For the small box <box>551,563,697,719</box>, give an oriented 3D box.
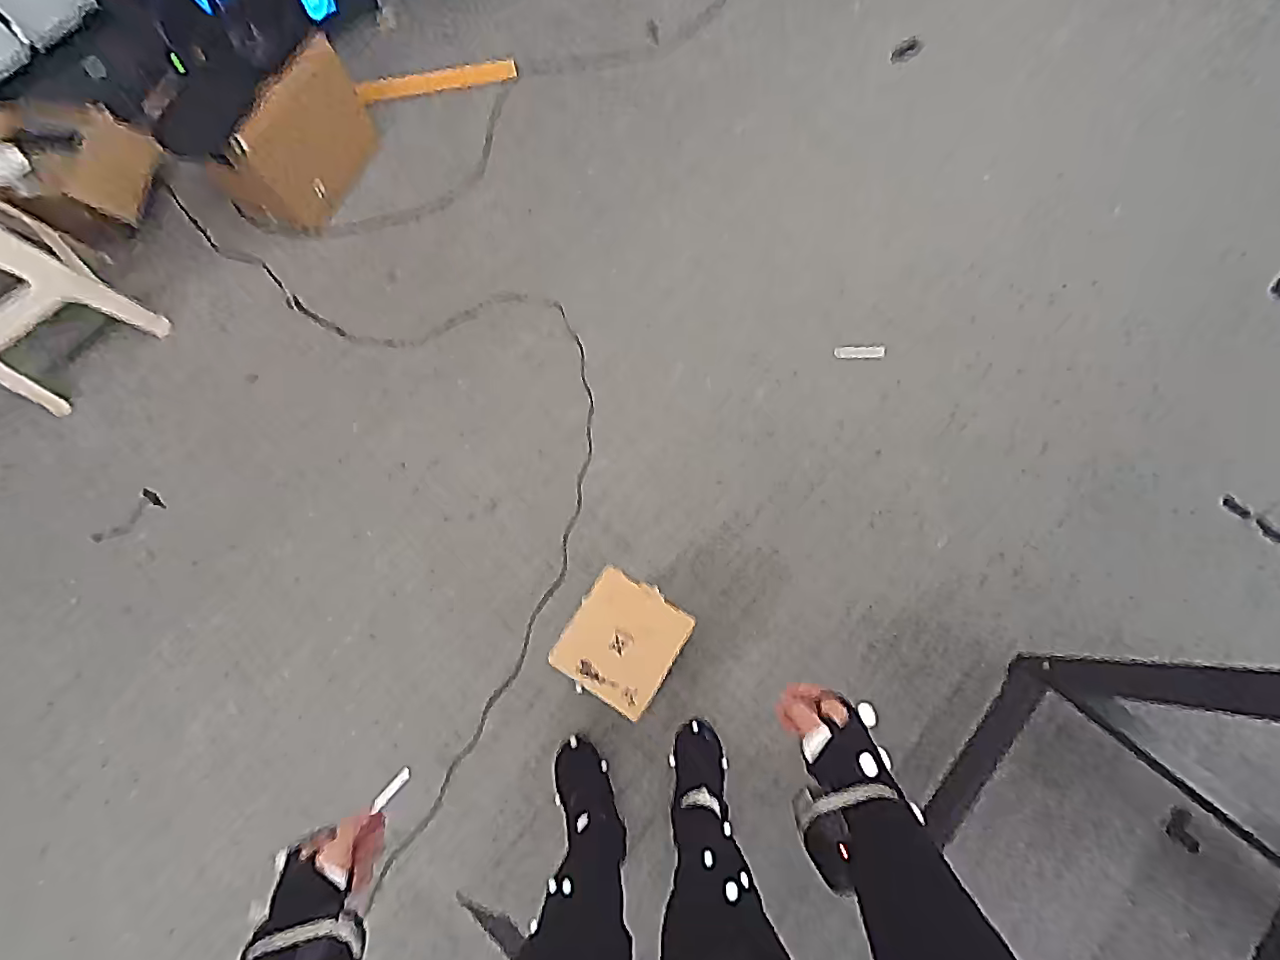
[{"bbox_3d":[-0.023,0.265,0.904,0.168,0.176,0.179,31,76,11],"label":"small box"}]
